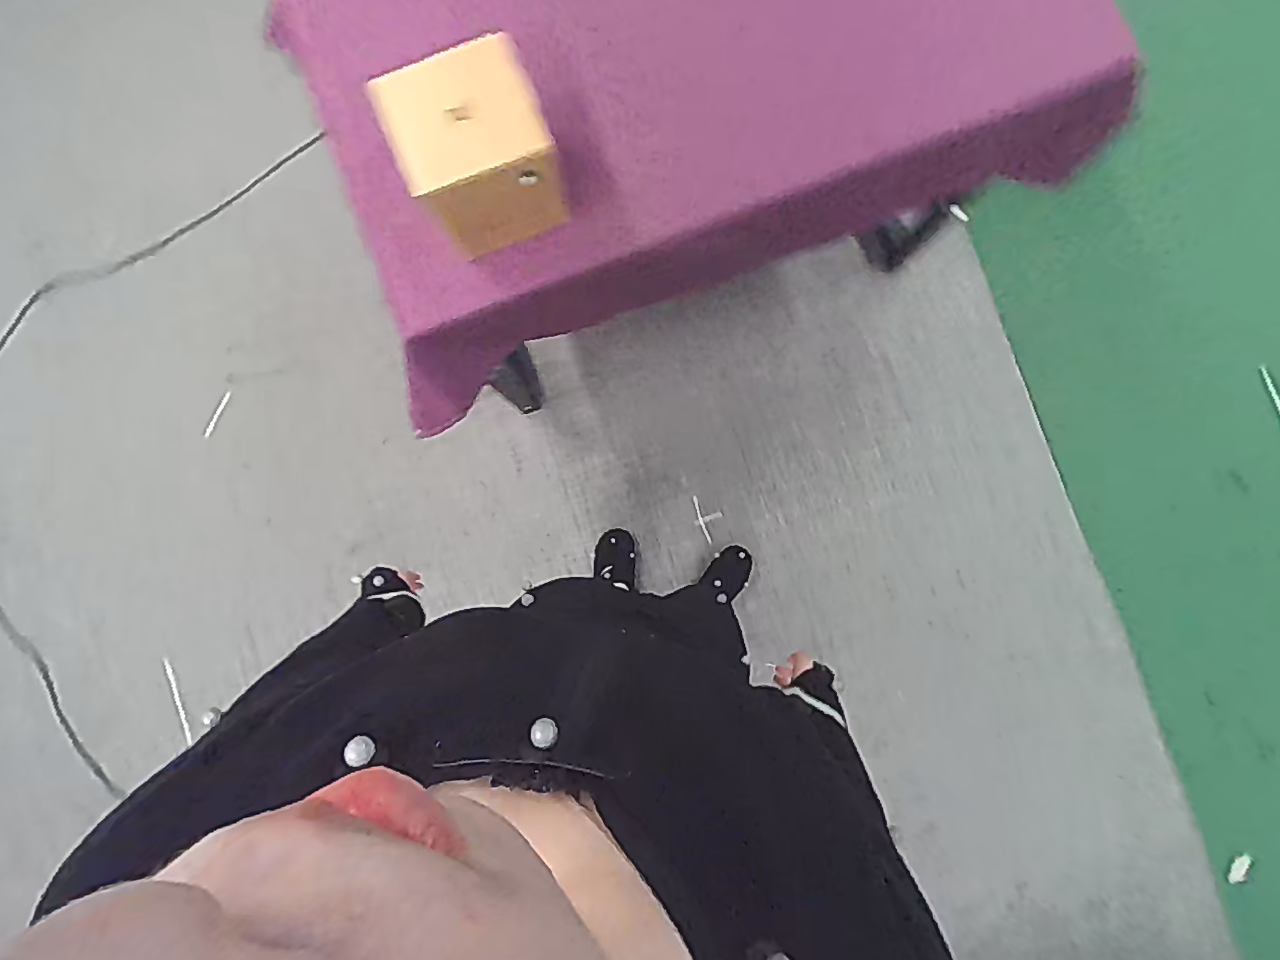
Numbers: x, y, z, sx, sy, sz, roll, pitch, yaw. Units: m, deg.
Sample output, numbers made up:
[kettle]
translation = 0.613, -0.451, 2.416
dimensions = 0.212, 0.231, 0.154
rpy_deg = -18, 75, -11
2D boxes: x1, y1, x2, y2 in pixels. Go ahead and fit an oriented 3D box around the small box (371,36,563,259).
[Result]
[small box]
translation = -0.224, -0.439, 0.743
dimensions = 0.179, 0.176, 0.168
rpy_deg = -23, 85, -2
